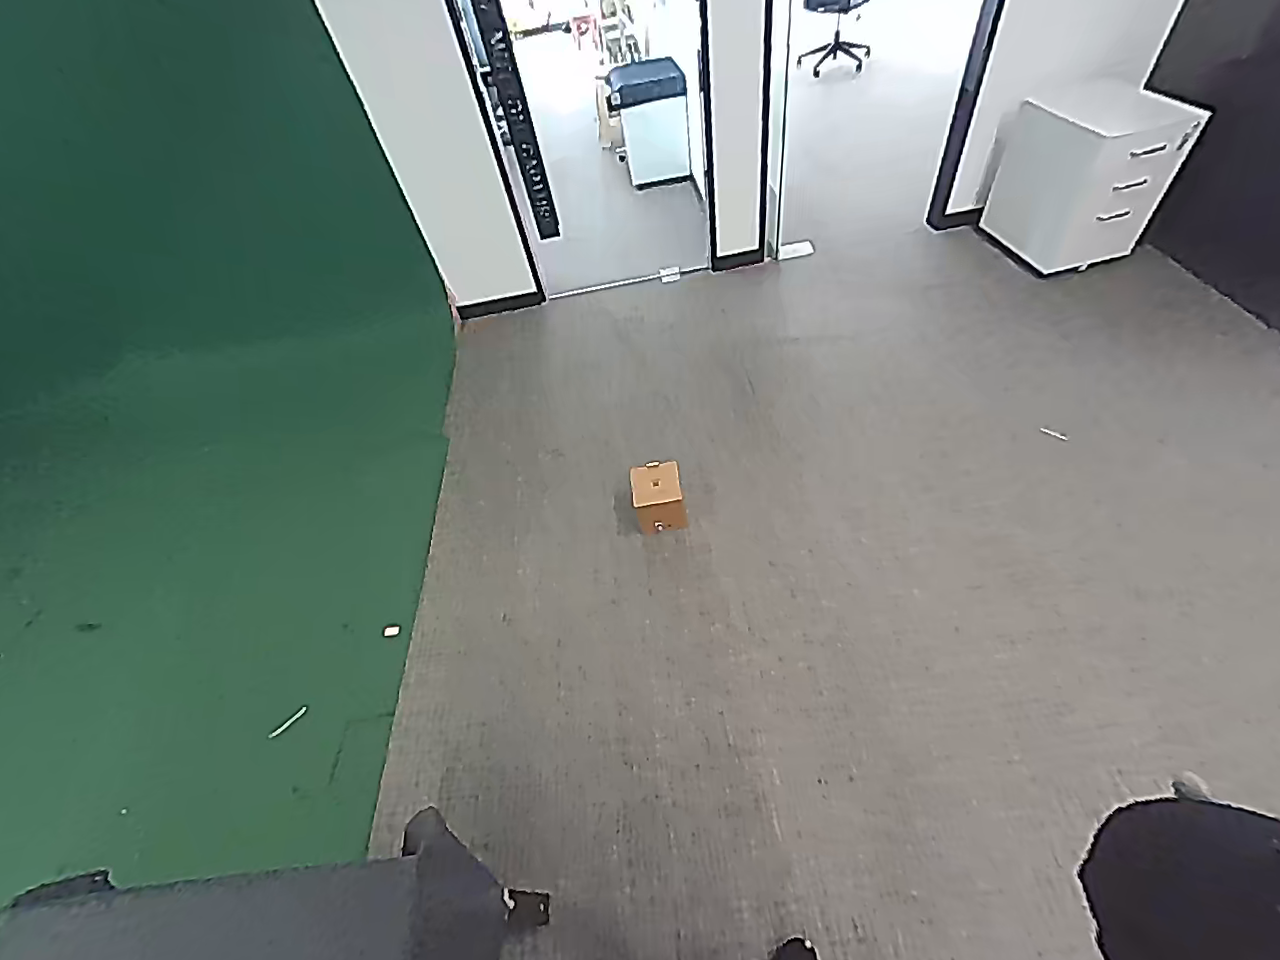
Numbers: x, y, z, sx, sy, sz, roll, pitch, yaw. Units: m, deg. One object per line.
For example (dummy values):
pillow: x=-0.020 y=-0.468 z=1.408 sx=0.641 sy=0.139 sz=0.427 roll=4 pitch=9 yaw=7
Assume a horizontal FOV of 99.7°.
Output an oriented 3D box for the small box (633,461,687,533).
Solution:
small box: x=0.069 y=0.061 z=1.879 sx=0.168 sy=0.176 sz=0.179 roll=-9 pitch=49 yaw=6
